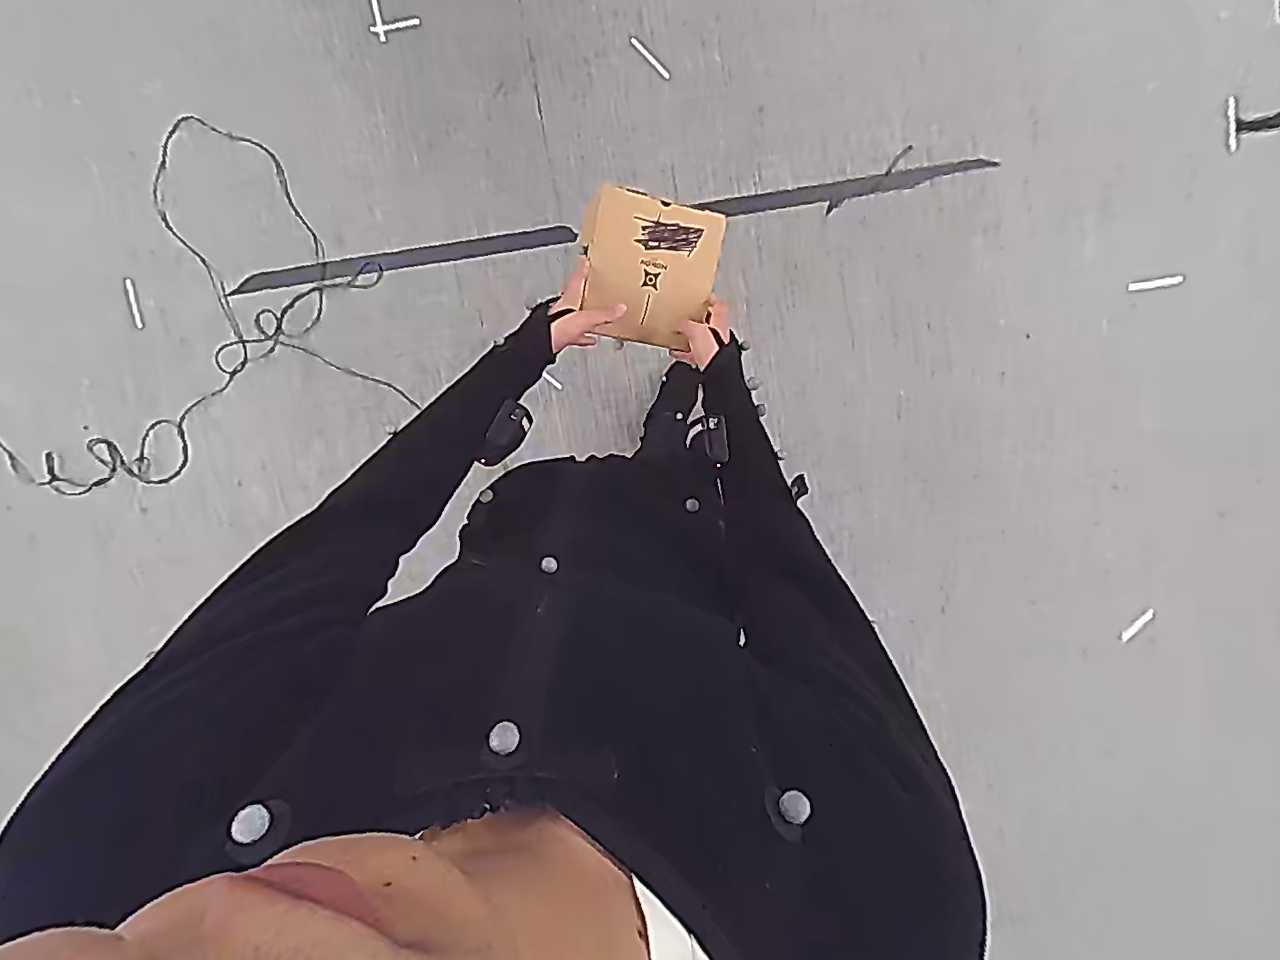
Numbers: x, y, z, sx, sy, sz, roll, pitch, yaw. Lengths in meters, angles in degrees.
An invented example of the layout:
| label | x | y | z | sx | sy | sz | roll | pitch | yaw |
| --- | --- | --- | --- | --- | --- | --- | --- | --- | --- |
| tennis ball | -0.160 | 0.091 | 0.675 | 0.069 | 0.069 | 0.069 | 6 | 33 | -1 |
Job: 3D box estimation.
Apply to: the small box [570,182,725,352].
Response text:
| label | x | y | z | sx | sy | sz | roll | pitch | yaw |
| --- | --- | --- | --- | --- | --- | --- | --- | --- | --- |
| small box | -0.001 | -0.286 | 0.759 | 0.168 | 0.176 | 0.179 | 7 | 105 | -15 |
